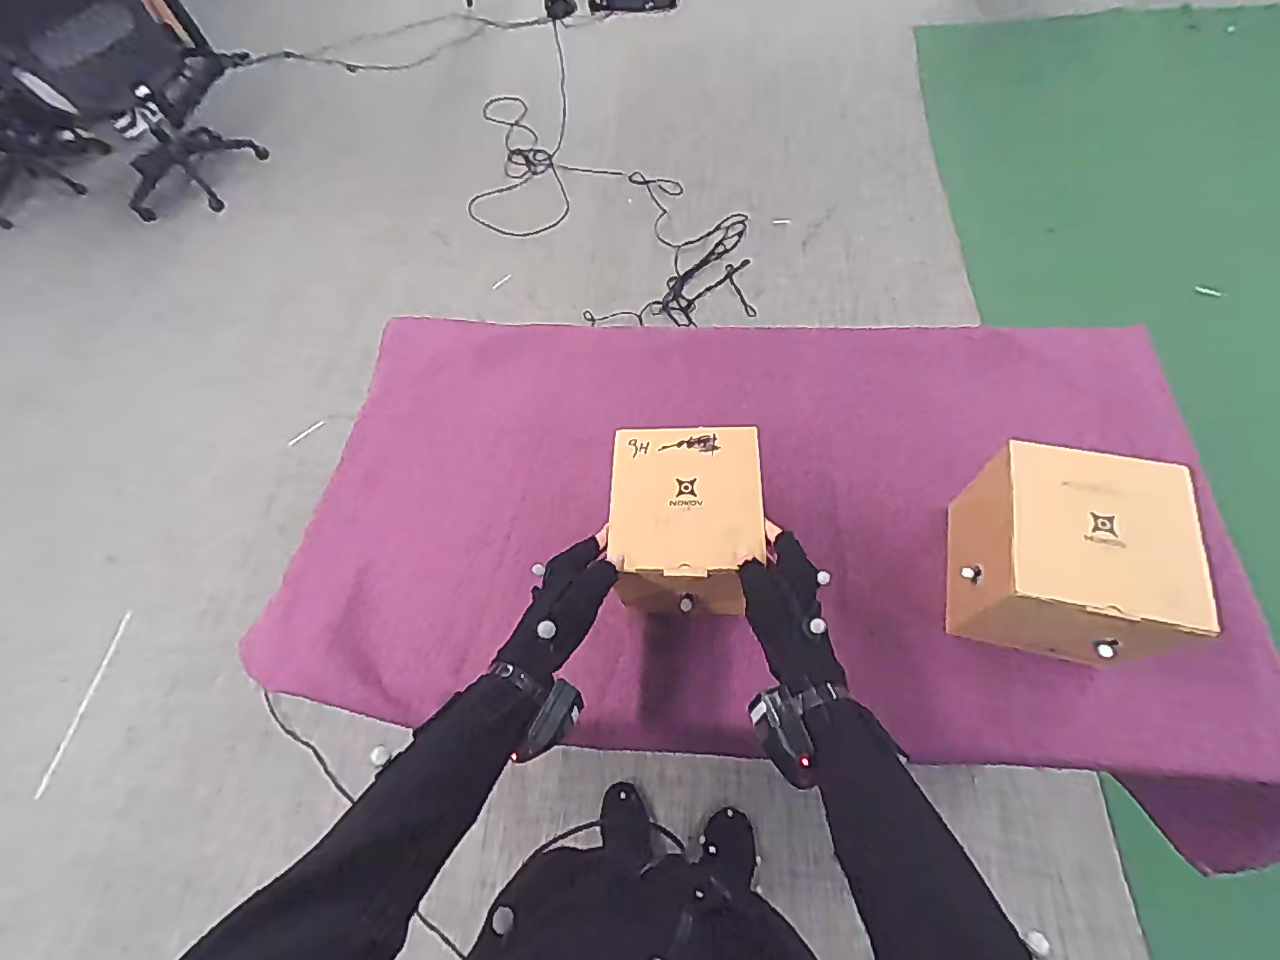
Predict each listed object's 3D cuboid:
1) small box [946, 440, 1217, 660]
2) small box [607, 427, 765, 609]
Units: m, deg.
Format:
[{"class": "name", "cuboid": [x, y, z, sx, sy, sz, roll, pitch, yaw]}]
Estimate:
[{"class": "small box", "cuboid": [0.456, 0.083, 0.592, 0.168, 0.176, 0.179, 11, 64, 13]}, {"class": "small box", "cuboid": [0.059, 0.054, 0.657, 0.168, 0.176, 0.179, -1, 63, 6]}]
